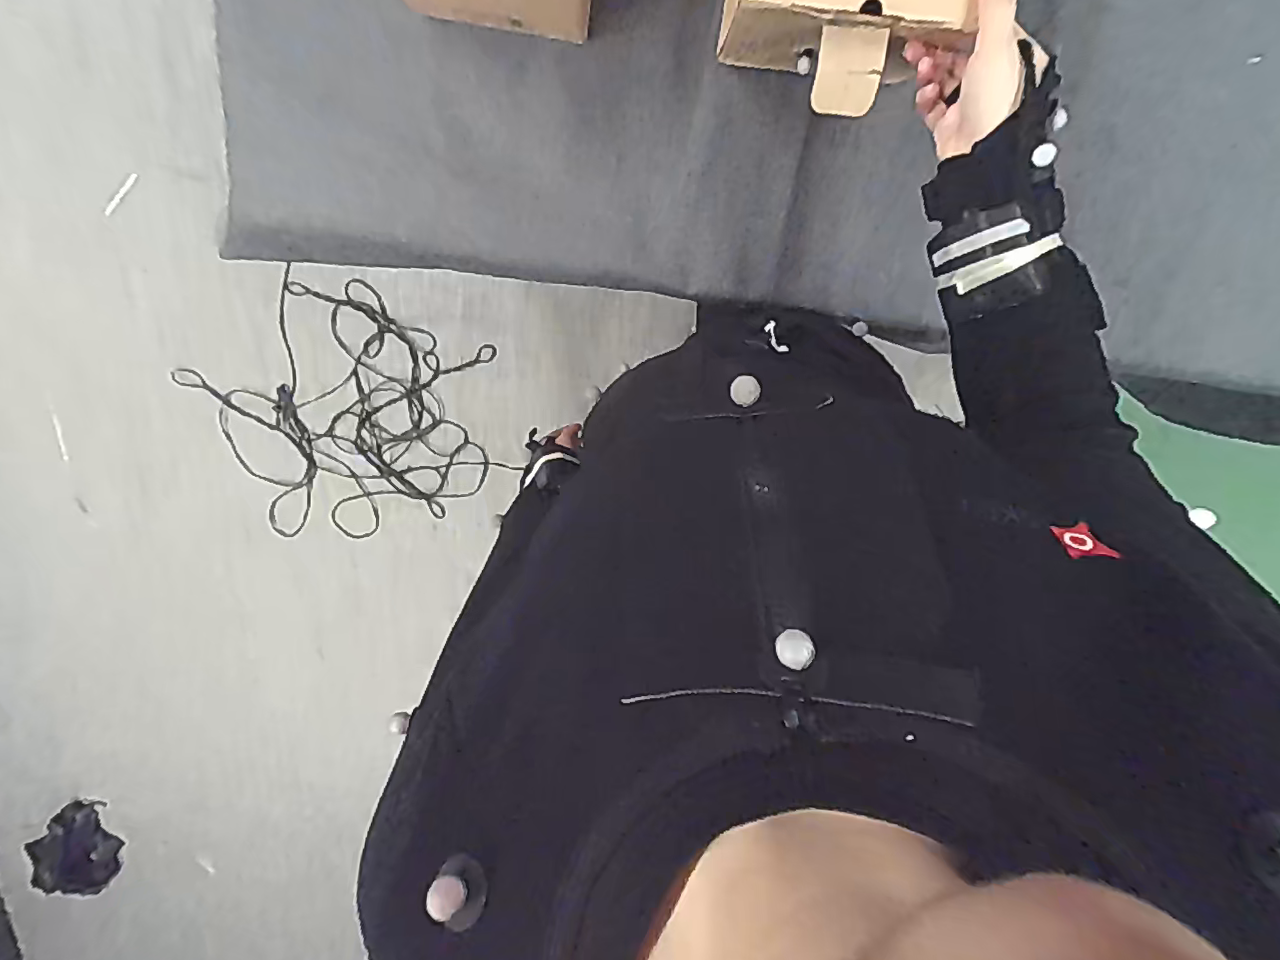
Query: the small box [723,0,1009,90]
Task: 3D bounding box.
[{"bbox_3d":[0.158,-0.400,0.376,0.168,0.176,0.179,6,118,-1],"label":"small box"}]
